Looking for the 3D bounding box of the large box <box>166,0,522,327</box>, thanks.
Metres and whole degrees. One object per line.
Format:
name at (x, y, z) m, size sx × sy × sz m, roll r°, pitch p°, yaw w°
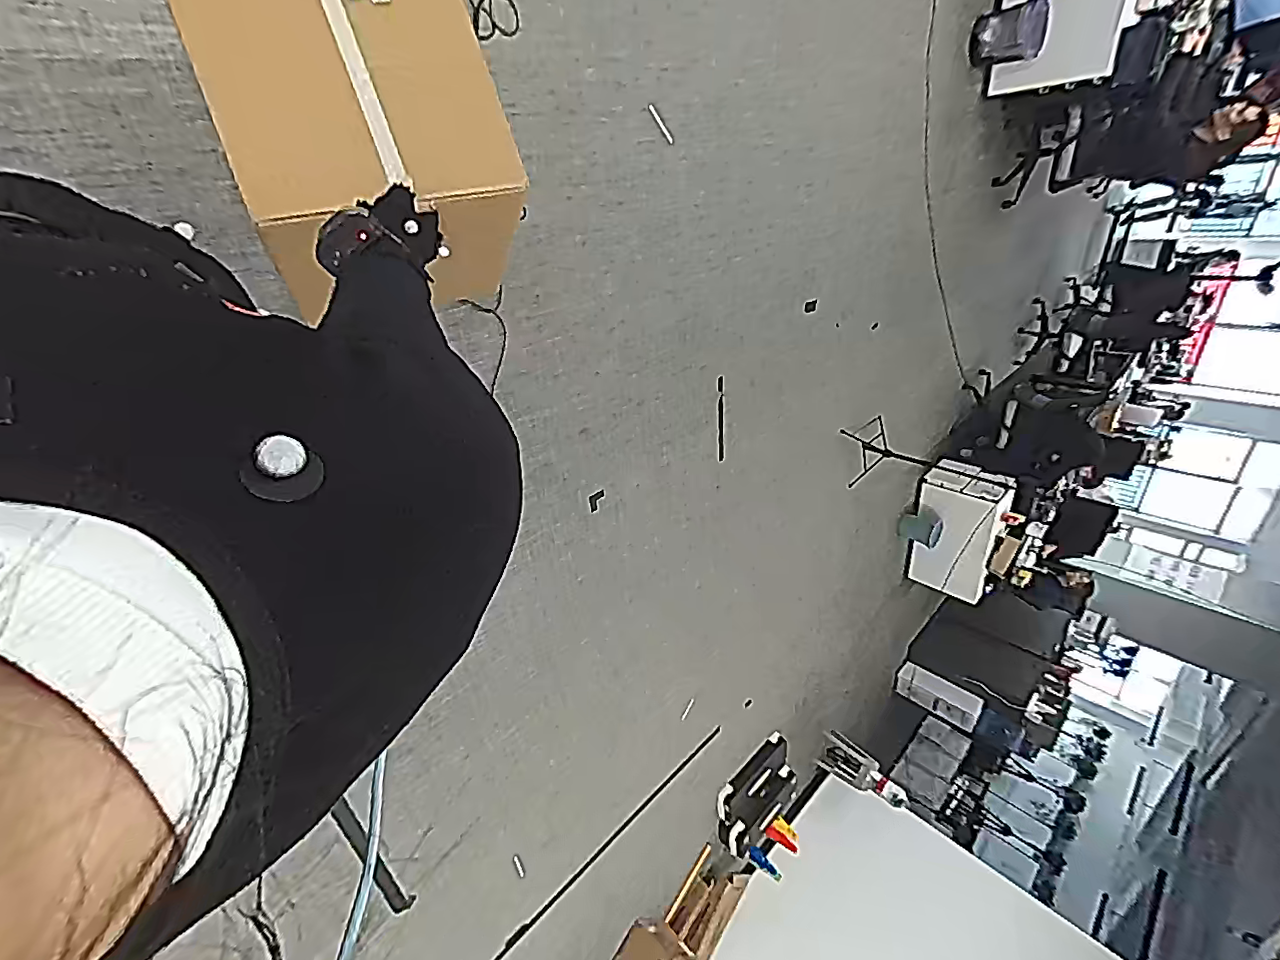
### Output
large box at (-0.408, -0.494, 0.778) m, size 0.320 × 0.320 × 0.408 m, roll -22°, pitch 91°, yaw -24°
